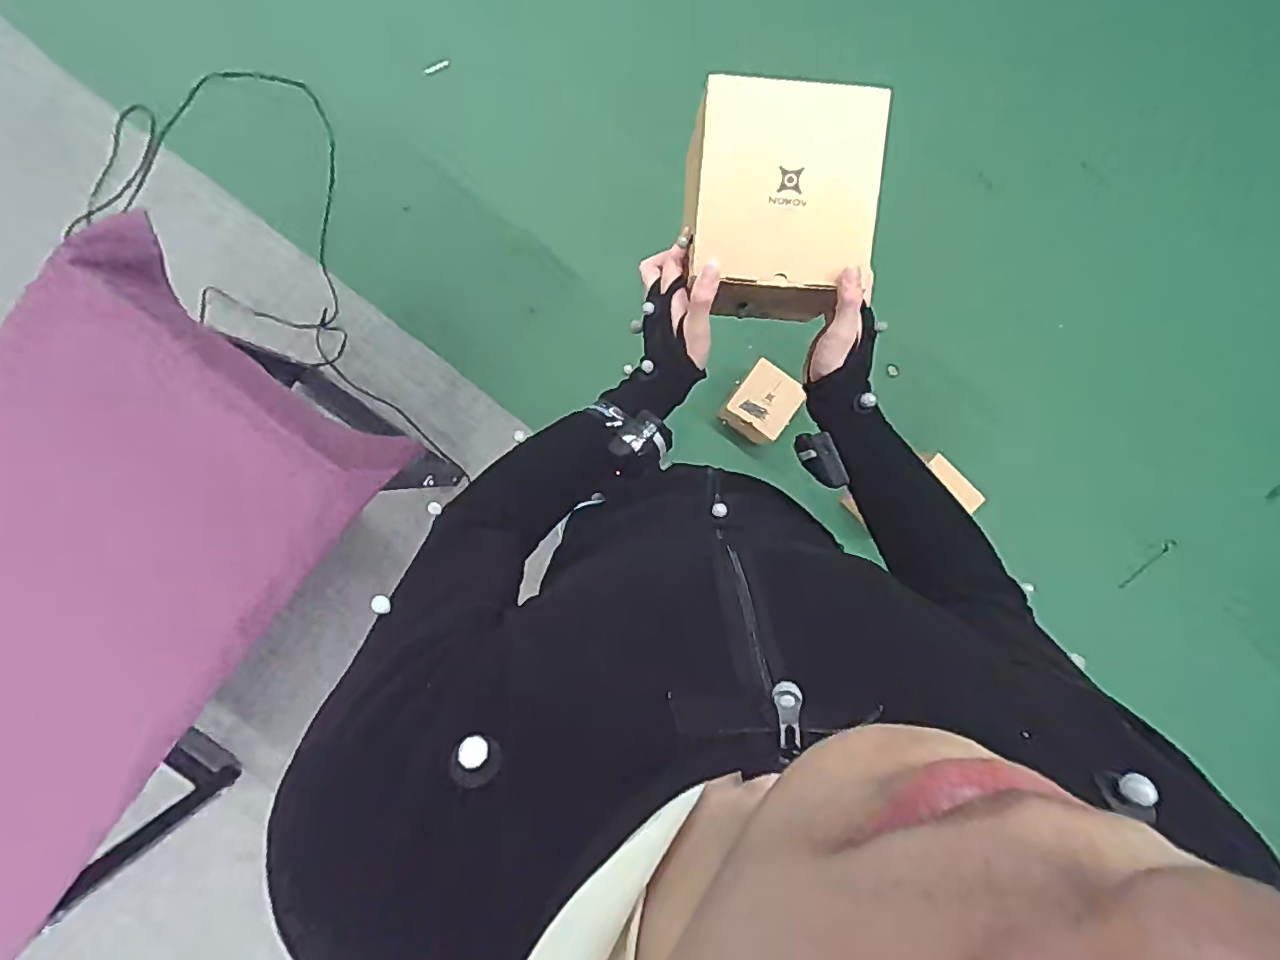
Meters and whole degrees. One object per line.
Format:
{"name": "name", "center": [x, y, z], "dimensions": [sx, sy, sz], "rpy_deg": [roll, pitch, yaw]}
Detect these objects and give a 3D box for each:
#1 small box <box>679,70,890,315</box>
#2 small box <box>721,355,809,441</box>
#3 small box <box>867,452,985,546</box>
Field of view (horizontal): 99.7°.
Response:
{"name": "small box", "center": [0.134, -0.280, 0.565], "dimensions": [0.168, 0.176, 0.179], "rpy_deg": [3, 99, -2]}
{"name": "small box", "center": [0.350, -0.227, 1.558], "dimensions": [0.168, 0.176, 0.179], "rpy_deg": [36, 89, -1]}
{"name": "small box", "center": [0.728, 0.045, 1.399], "dimensions": [0.168, 0.176, 0.179], "rpy_deg": [45, 90, -1]}
